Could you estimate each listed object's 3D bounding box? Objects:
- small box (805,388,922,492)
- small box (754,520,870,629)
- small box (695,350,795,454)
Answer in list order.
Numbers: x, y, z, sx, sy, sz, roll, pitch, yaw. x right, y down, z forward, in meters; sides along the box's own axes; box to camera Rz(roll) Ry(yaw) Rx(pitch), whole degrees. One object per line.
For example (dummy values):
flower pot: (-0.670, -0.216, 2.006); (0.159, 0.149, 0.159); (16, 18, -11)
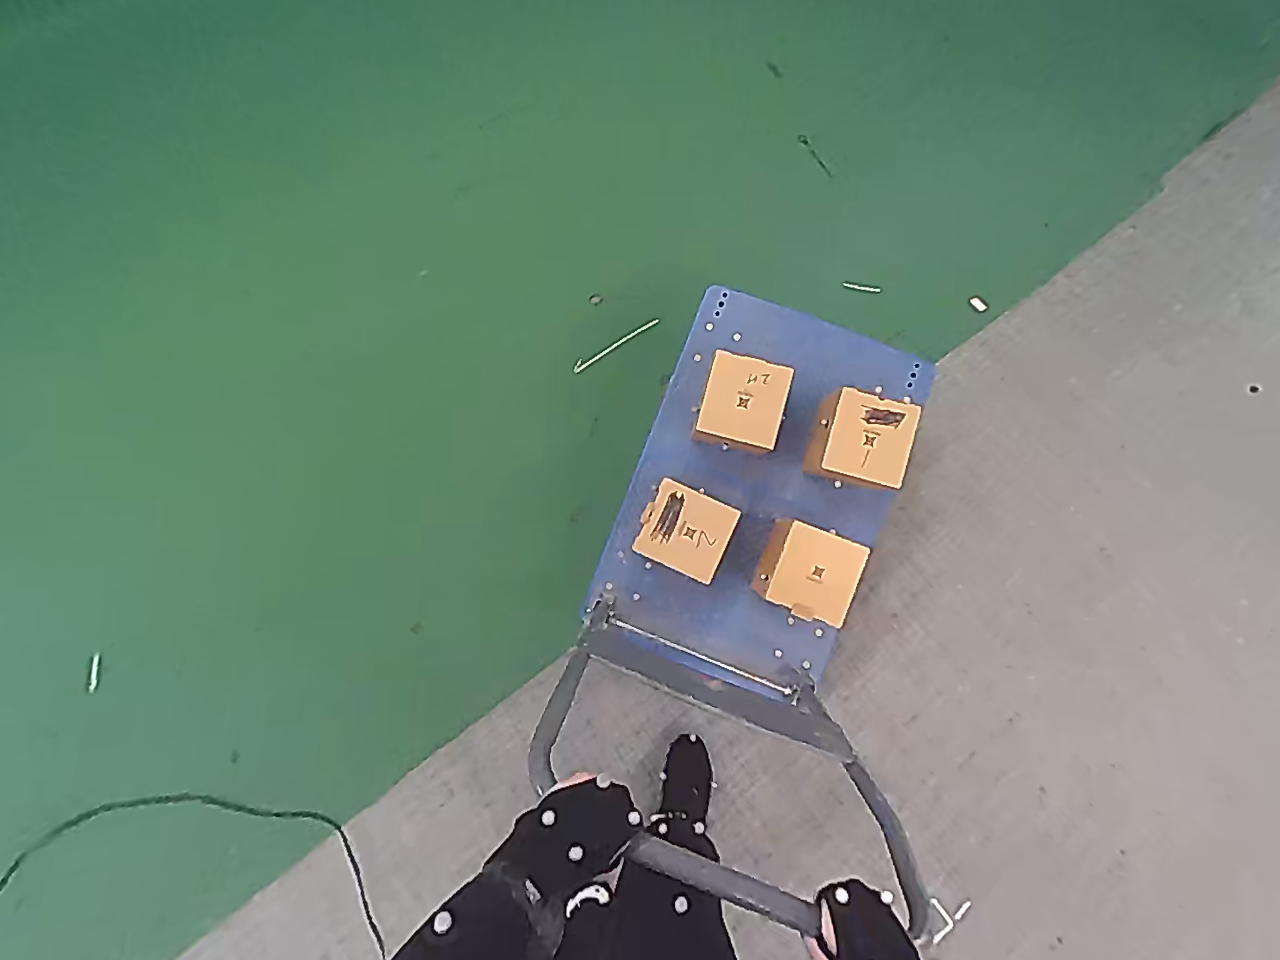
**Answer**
small box: (0.476, -0.080, 1.179); (0.168, 0.176, 0.179); (17, 89, 3)
small box: (0.361, 0.193, 1.172); (0.168, 0.176, 0.179); (22, 89, 3)
small box: (0.222, -0.161, 1.190); (0.168, 0.176, 0.179); (16, 88, 1)
